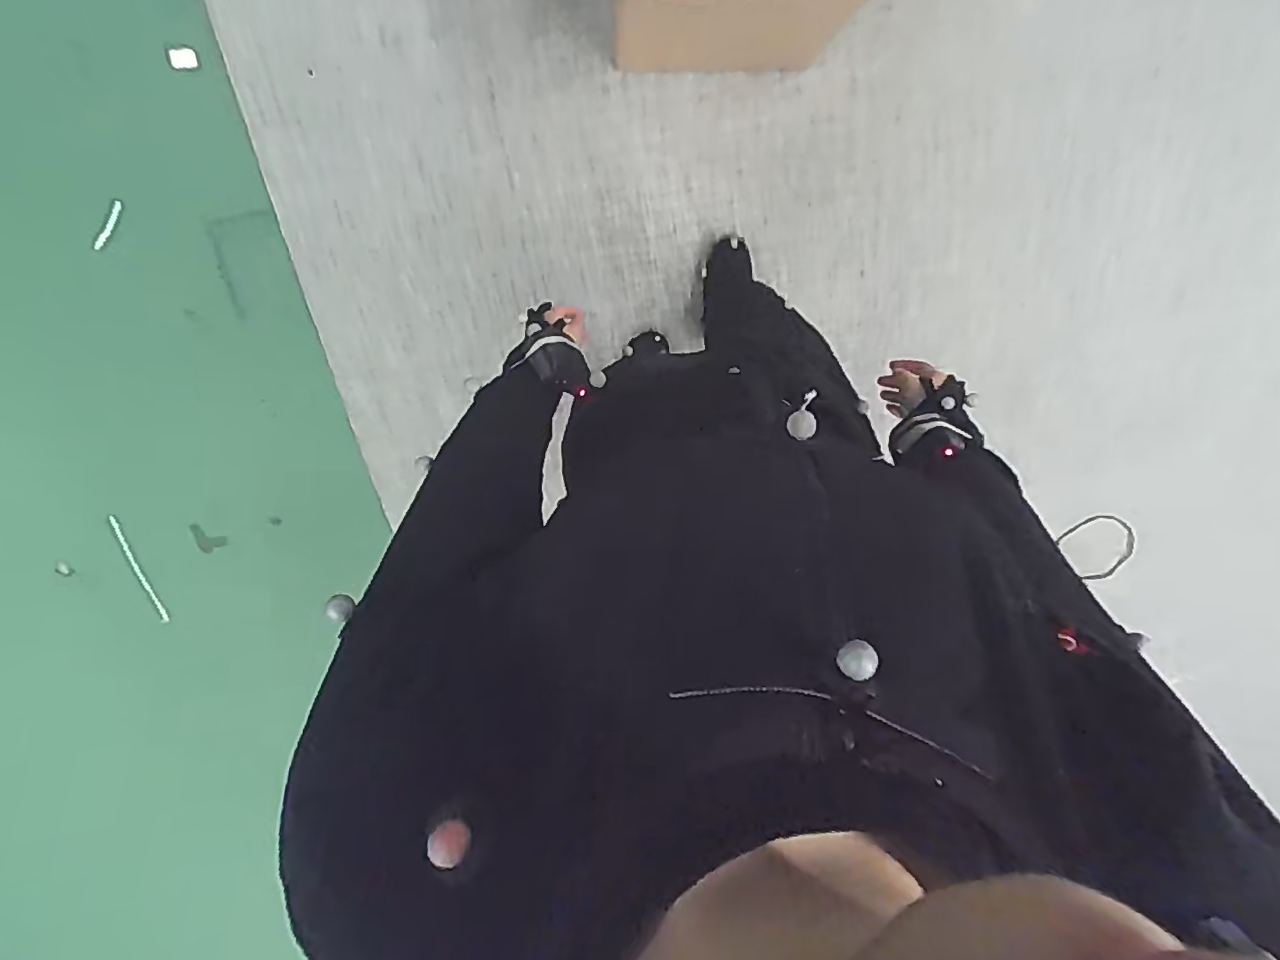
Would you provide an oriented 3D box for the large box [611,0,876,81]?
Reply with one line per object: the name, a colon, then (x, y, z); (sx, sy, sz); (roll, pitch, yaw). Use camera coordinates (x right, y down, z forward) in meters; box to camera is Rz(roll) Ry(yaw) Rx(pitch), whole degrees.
large box: (0.150, -0.915, 0.912); (0.408, 0.320, 0.320); (-4, 110, -4)
